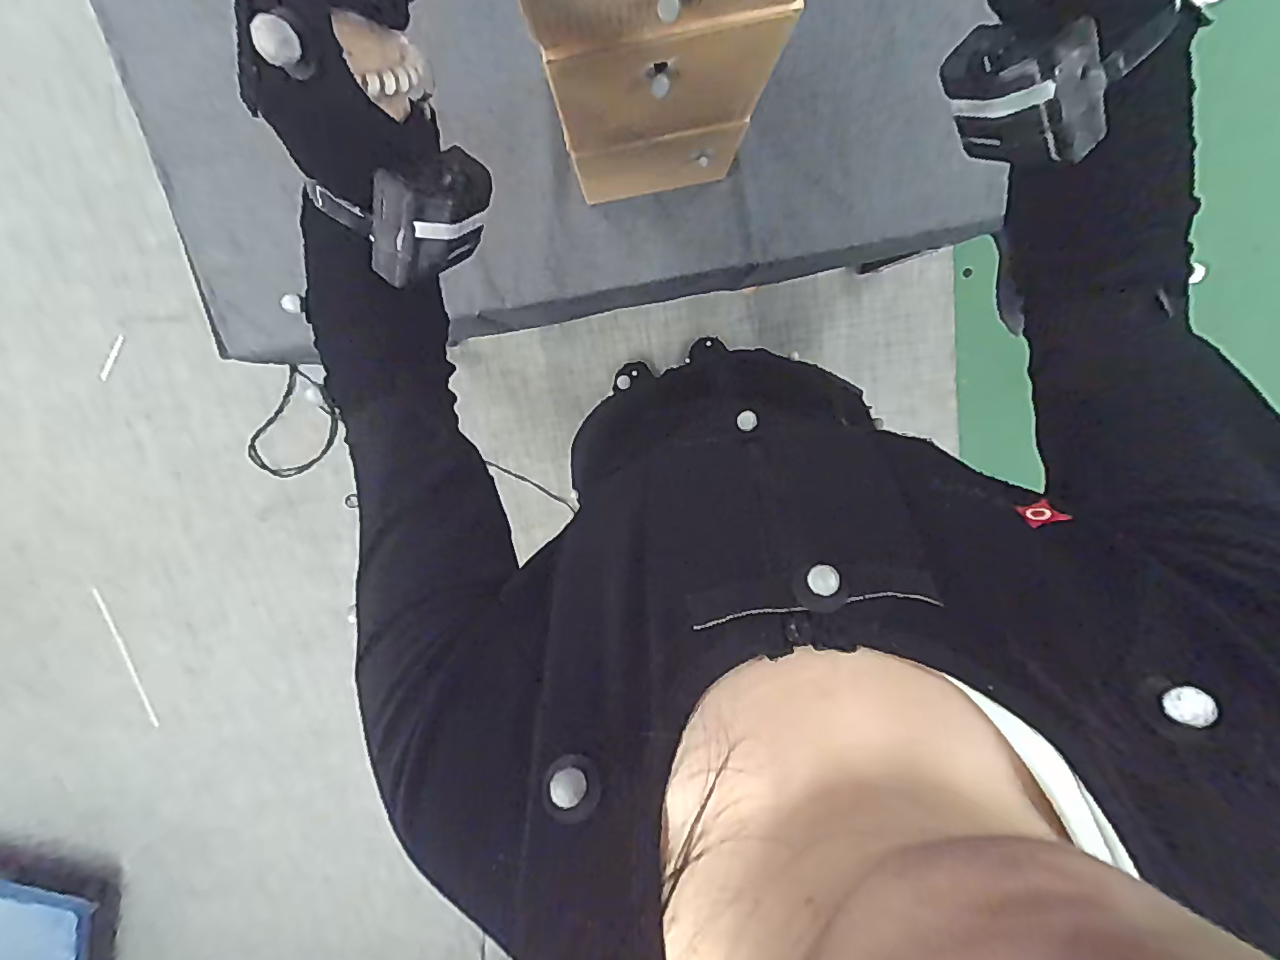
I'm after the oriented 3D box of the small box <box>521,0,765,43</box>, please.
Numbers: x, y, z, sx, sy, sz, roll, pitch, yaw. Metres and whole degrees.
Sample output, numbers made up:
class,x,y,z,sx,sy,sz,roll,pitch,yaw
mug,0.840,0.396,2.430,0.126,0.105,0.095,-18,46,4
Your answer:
class,x,y,z,sx,sy,sz,roll,pitch,yaw
small box,0.006,-0.358,0.259,0.179,0.176,0.168,-9,101,2

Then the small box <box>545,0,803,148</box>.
class,x,y,z,sx,sy,sz,roll,pitch,yaw
small box,0.009,-0.390,0.421,0.179,0.176,0.168,-10,103,3
